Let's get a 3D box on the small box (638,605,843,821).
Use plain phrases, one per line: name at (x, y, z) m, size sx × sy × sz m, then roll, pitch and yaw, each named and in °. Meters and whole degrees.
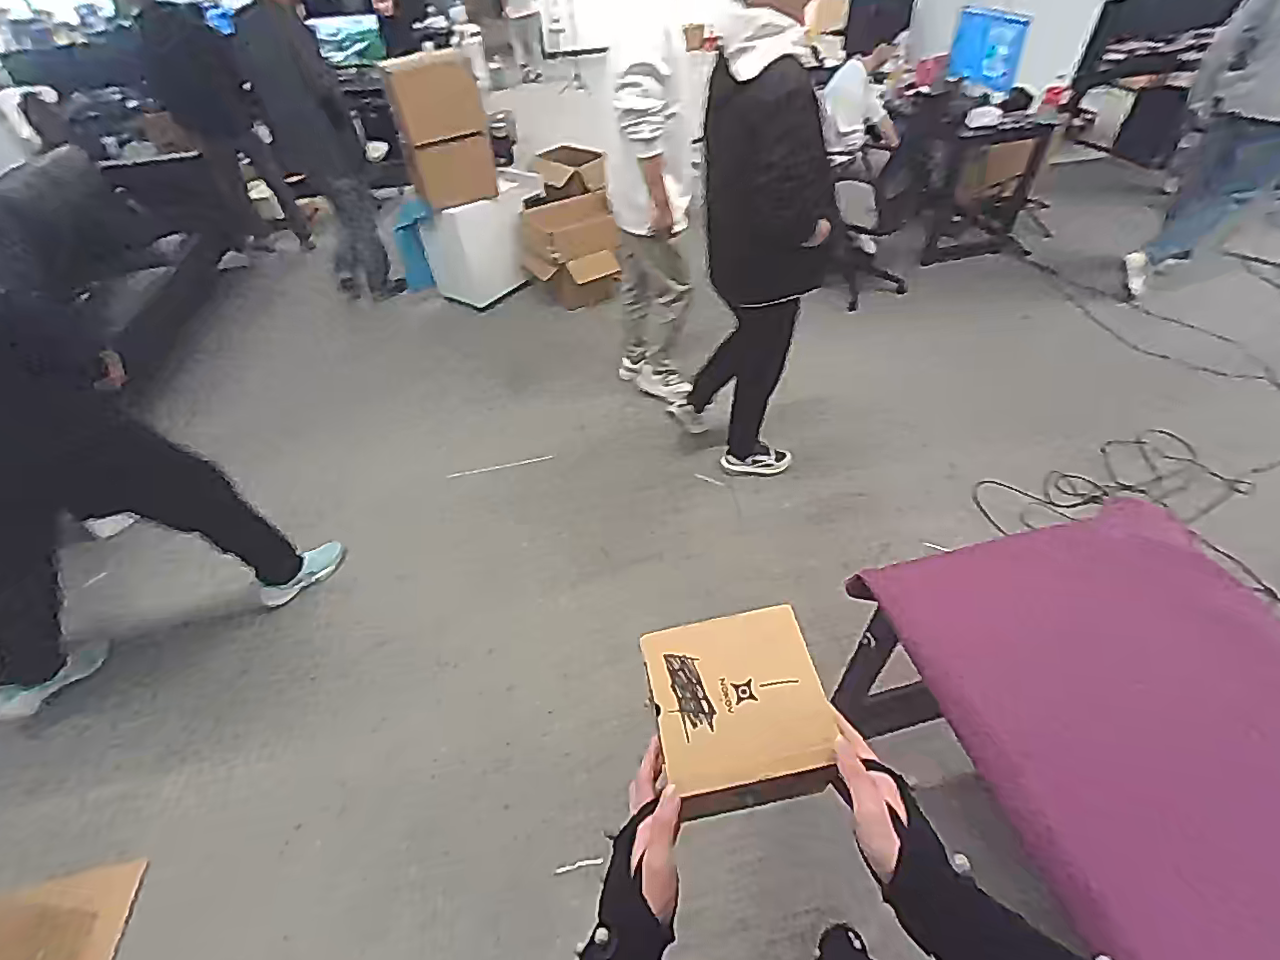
small box at (0.104, 0.269, 0.615) m, size 0.179 × 0.176 × 0.168 m, roll -11°, pitch 51°, yaw -2°
